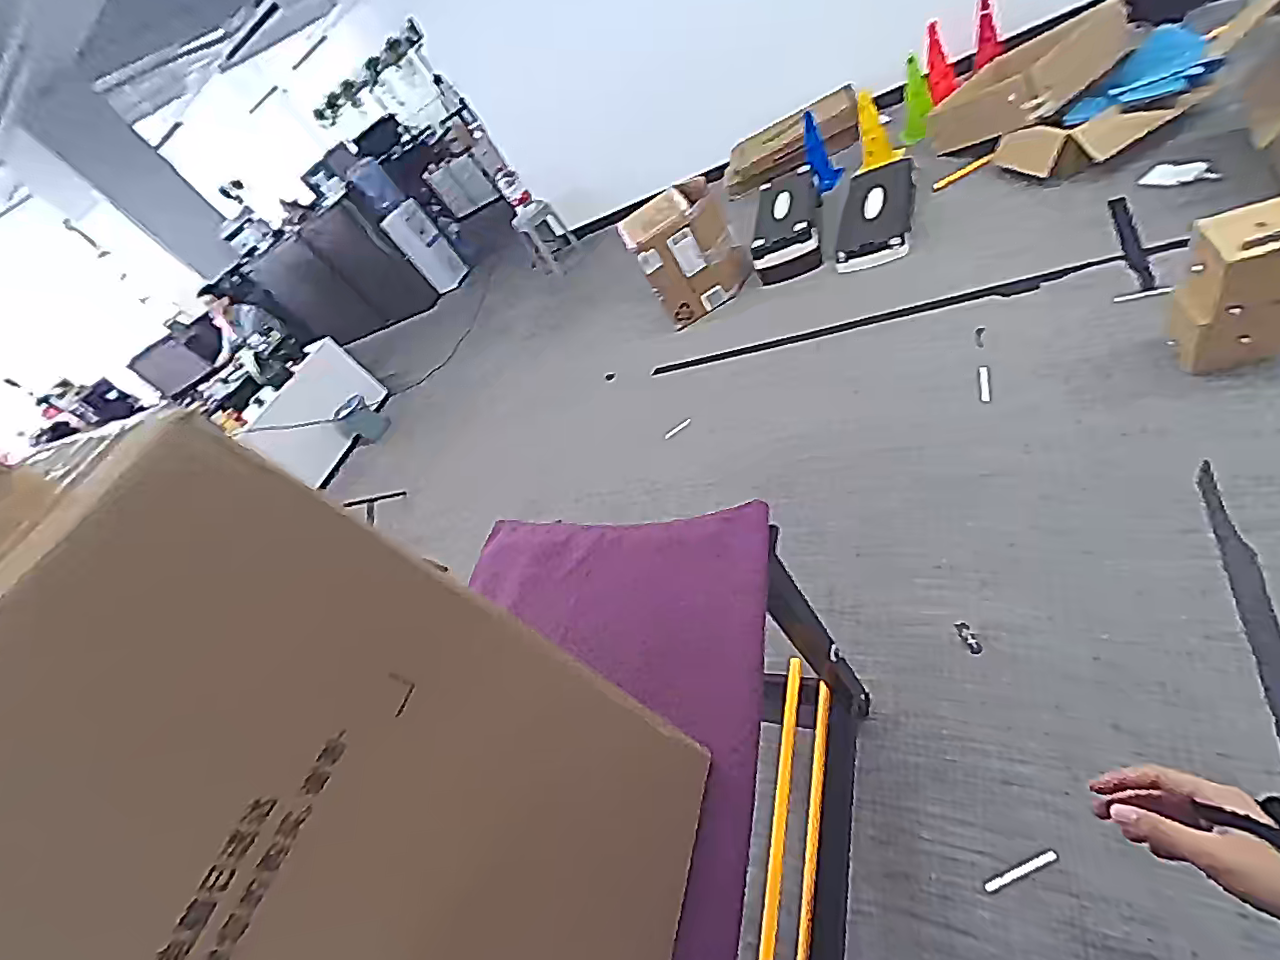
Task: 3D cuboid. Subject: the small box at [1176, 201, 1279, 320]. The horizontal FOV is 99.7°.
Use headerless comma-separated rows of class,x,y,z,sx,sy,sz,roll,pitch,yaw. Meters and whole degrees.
small box,1.372,-0.487,1.230,0.168,0.176,0.179,-10,47,29
